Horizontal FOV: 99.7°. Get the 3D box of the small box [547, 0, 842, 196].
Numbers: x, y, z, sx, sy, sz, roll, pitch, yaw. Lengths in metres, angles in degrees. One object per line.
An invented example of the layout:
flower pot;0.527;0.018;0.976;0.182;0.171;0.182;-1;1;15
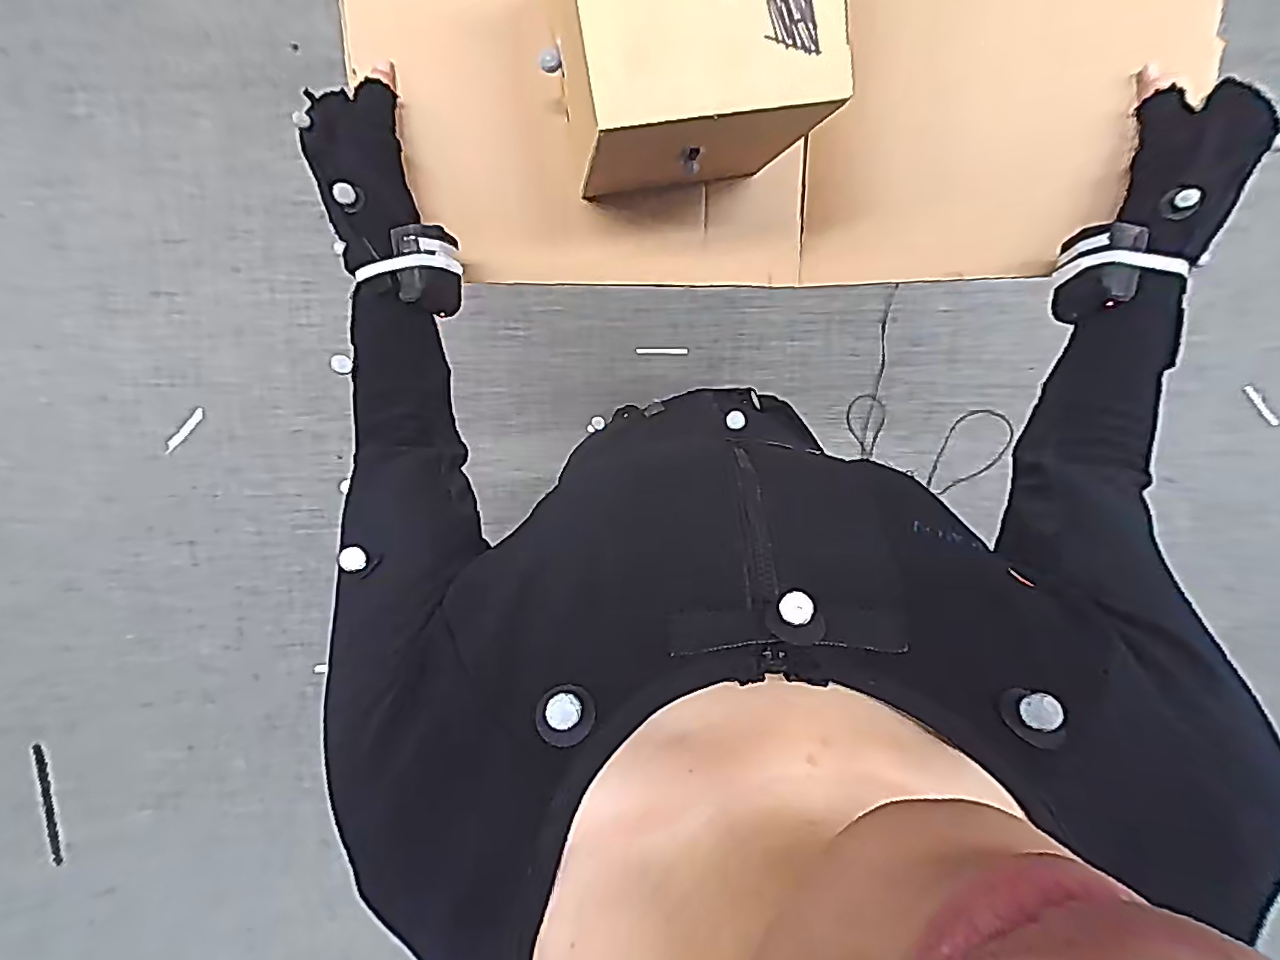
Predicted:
small box;0.030;-0.335;0.415;0.179;0.176;0.168;-12;106;-7
